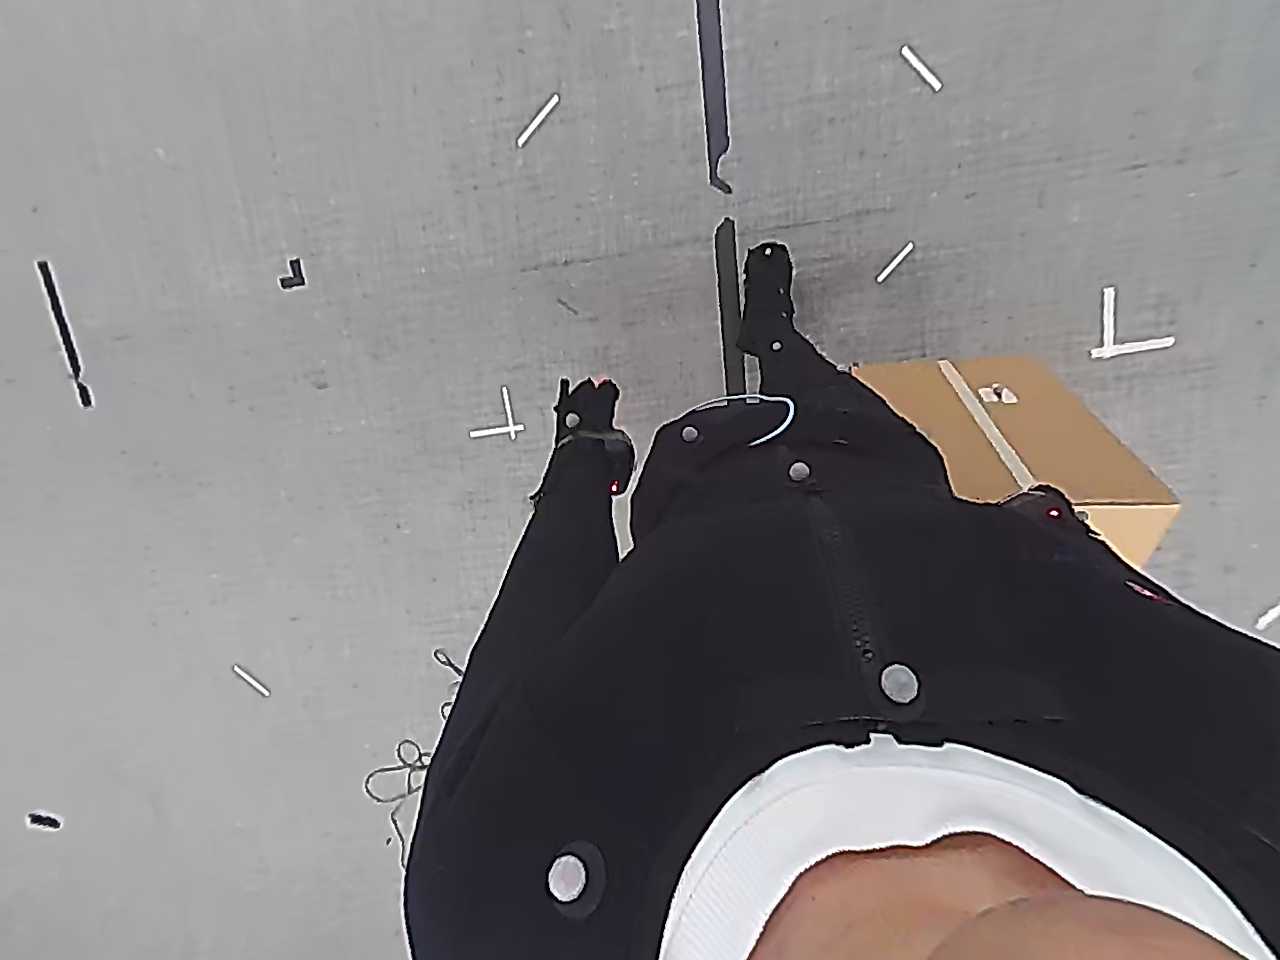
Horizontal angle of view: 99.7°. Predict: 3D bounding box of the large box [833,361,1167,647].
[{"bbox_3d":[0.534,0.029,0.924,0.320,0.408,0.320,-1,126,8],"label":"large box"}]
